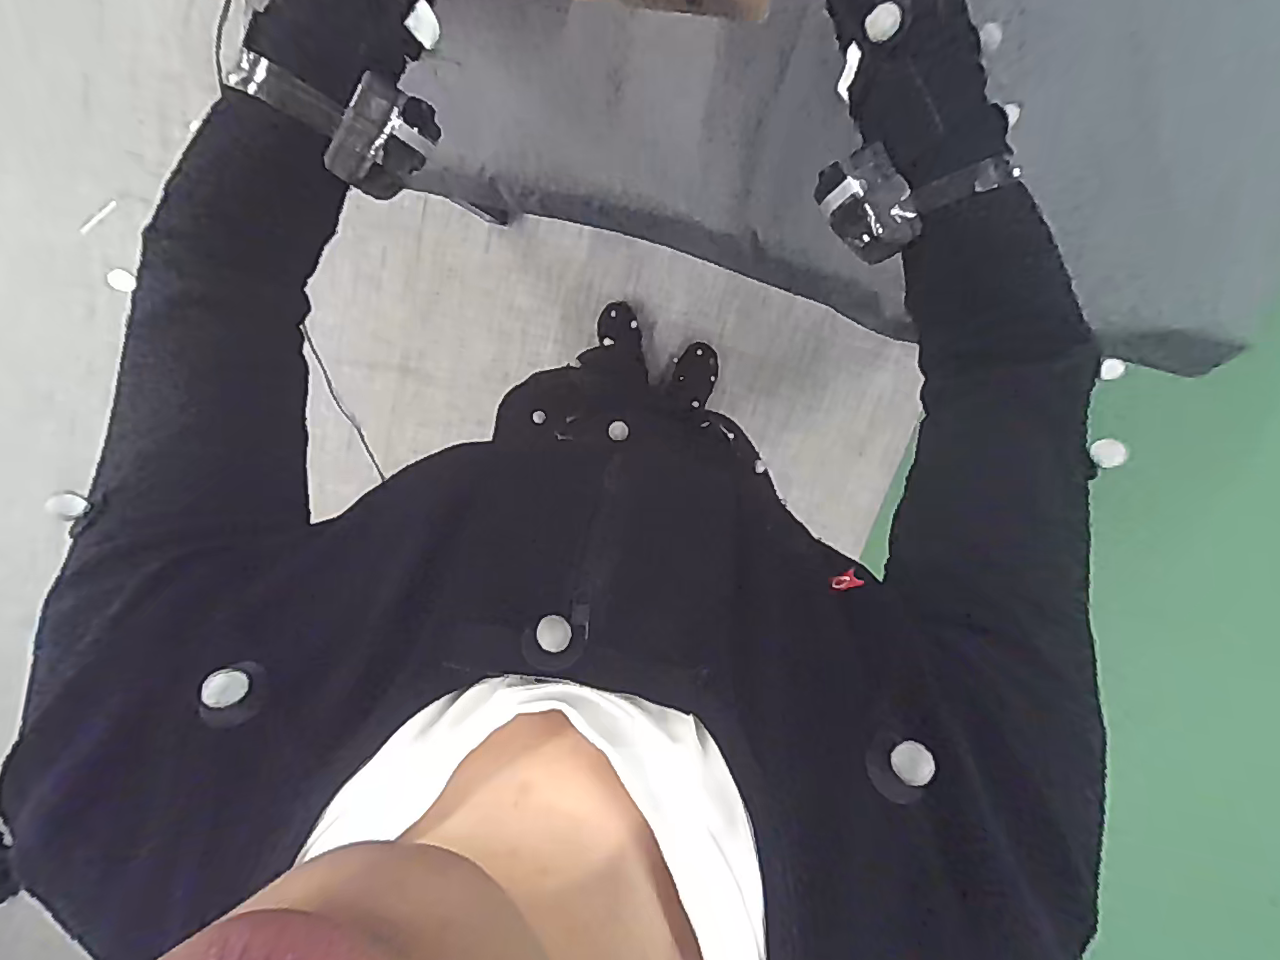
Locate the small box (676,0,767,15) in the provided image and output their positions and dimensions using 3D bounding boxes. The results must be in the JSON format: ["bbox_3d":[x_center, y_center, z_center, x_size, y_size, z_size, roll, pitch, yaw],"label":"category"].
[{"bbox_3d":[0.031,-0.457,0.358,0.168,0.176,0.179,9,107,2],"label":"small box"}]
